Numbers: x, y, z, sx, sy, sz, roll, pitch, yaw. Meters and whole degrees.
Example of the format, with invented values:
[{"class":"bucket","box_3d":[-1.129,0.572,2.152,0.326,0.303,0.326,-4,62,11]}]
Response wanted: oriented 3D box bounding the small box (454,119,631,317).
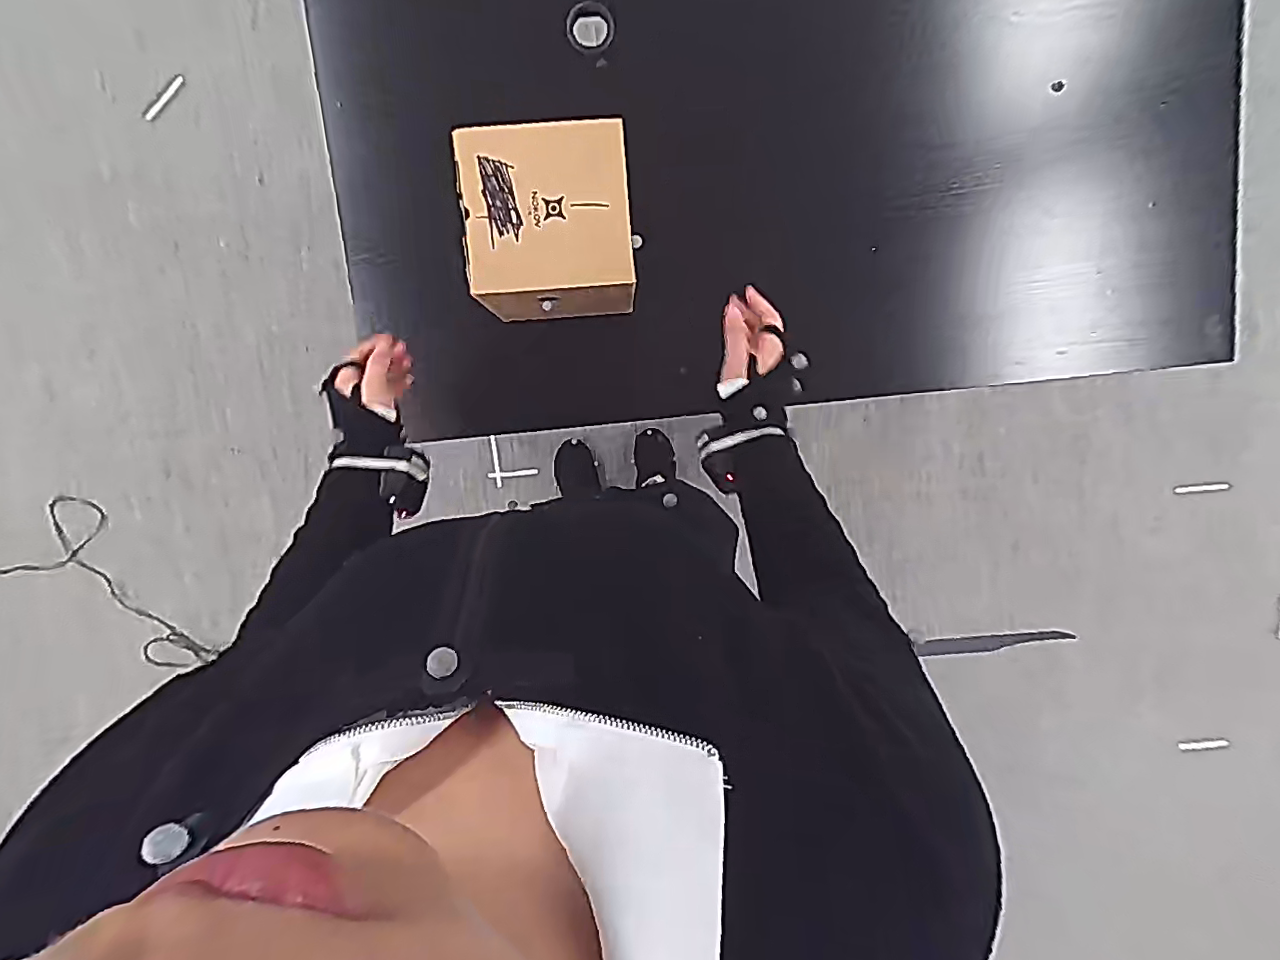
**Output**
[{"class":"small box","box_3d":[-0.102,-0.295,0.643,0.179,0.176,0.168,-5,97,-2]}]
